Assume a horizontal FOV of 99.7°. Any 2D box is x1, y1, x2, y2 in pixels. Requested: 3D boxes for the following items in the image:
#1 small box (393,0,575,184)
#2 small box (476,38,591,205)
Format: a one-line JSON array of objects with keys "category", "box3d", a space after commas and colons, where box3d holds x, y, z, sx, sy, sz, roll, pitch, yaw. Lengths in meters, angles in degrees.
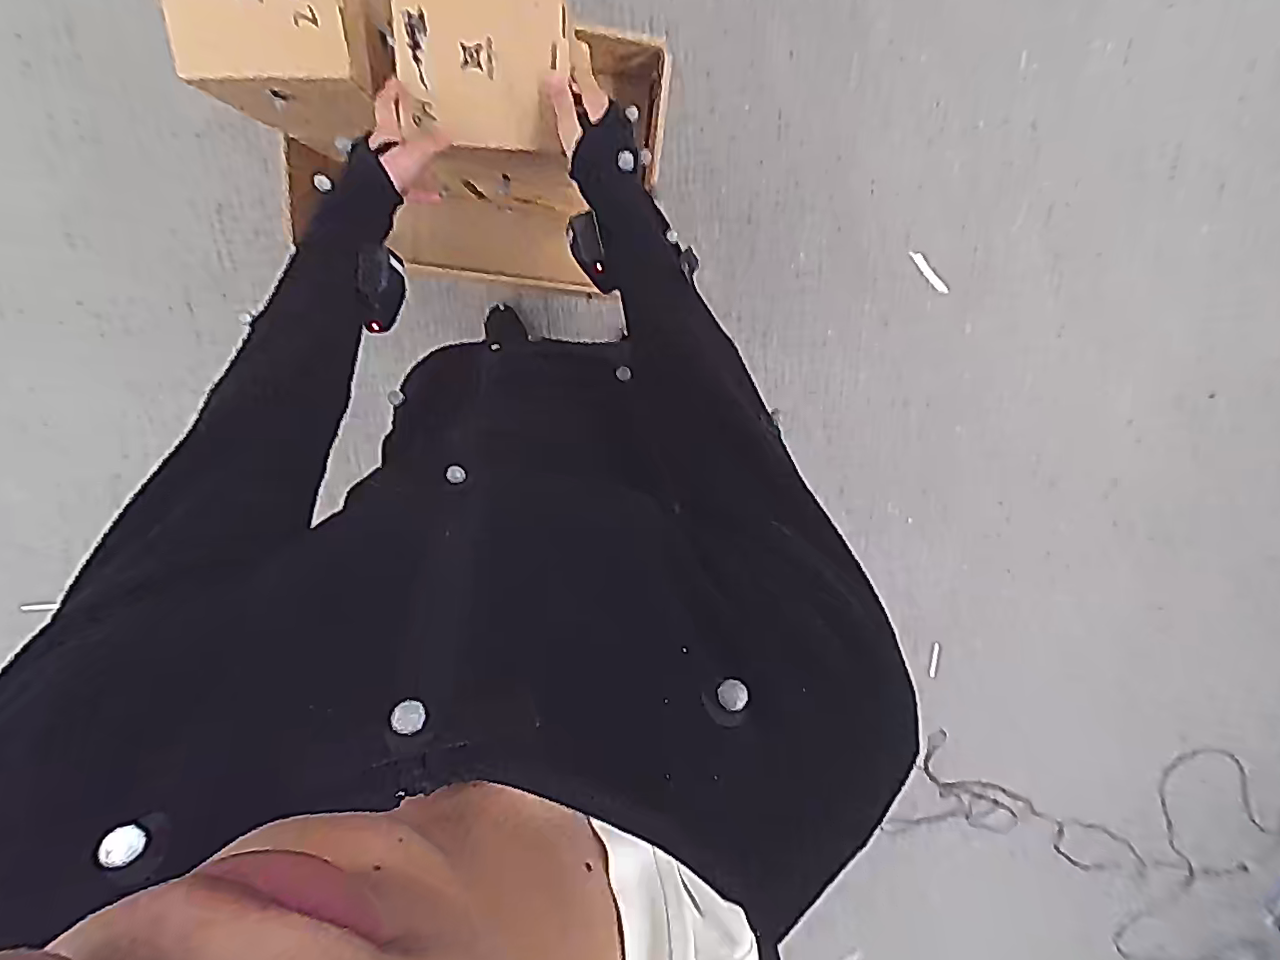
[{"category": "small box", "box3d": [-0.168, -0.459, 0.635, 0.179, 0.176, 0.168, 2, 107, -4]}, {"category": "small box", "box3d": [-0.166, -0.520, 0.788, 0.168, 0.176, 0.179, 10, 106, -5]}]
